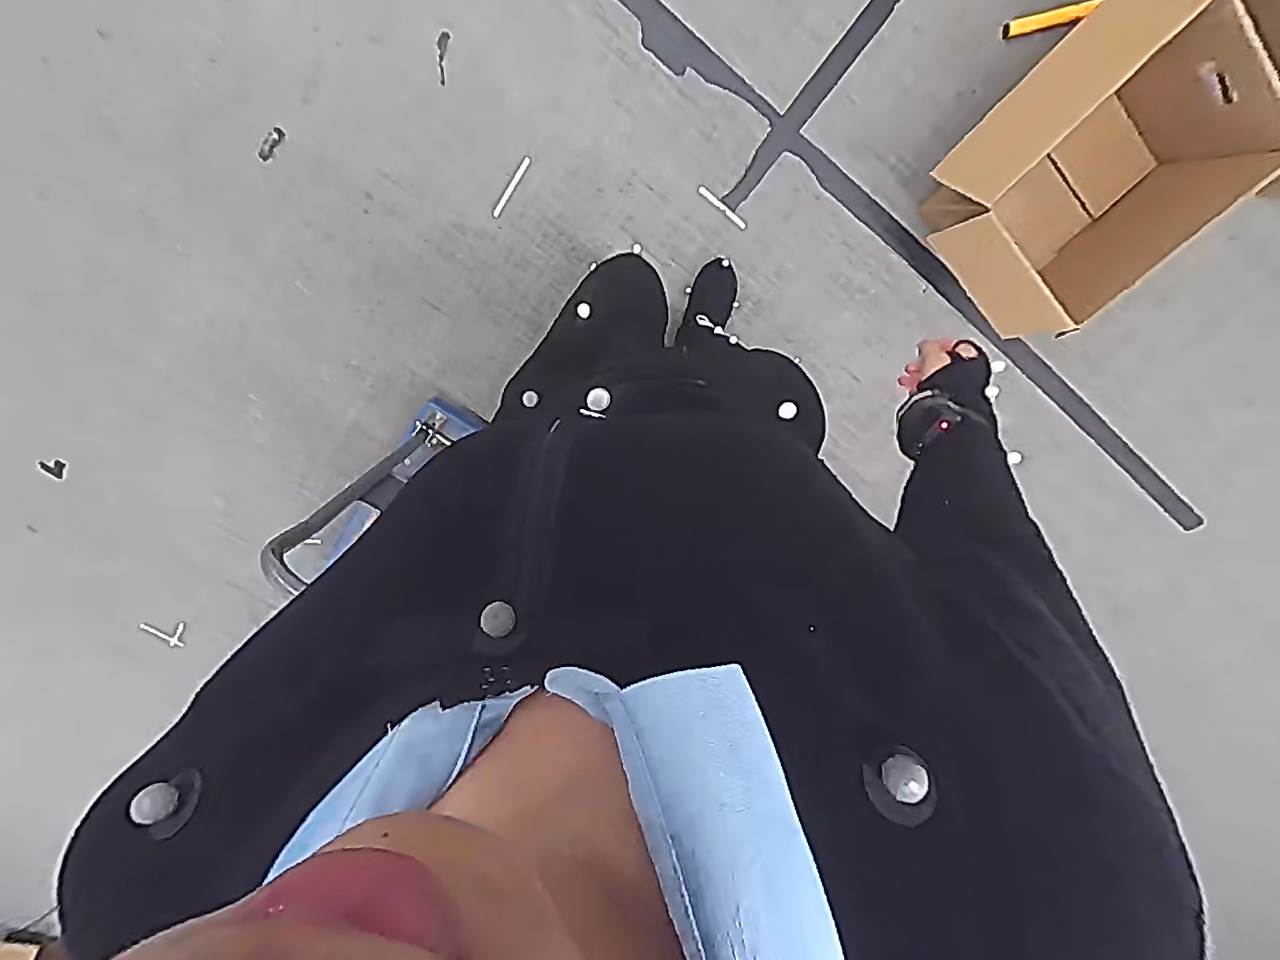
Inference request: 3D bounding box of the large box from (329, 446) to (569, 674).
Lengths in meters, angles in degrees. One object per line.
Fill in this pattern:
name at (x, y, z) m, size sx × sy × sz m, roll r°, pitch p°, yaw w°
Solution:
large box at (-0.441, 0.187, 1.329) m, size 0.408 × 0.320 × 0.320 m, roll 36°, pitch 112°, yaw -12°
